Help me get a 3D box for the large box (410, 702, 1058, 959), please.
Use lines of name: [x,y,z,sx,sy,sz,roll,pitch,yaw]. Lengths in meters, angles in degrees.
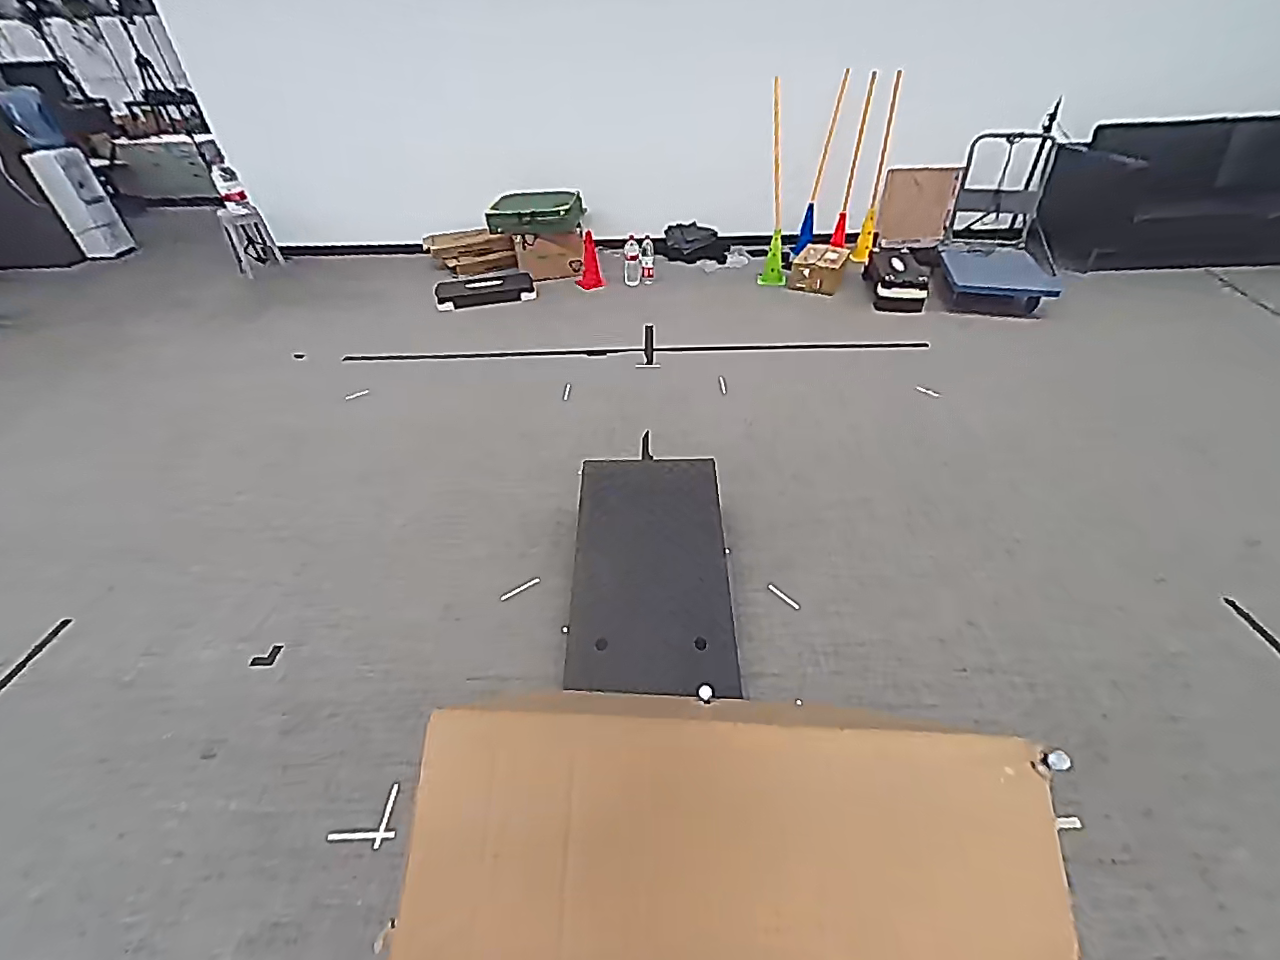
large box: [0.054,0.365,0.464,0.408,0.320,0.320,2,72,1]
